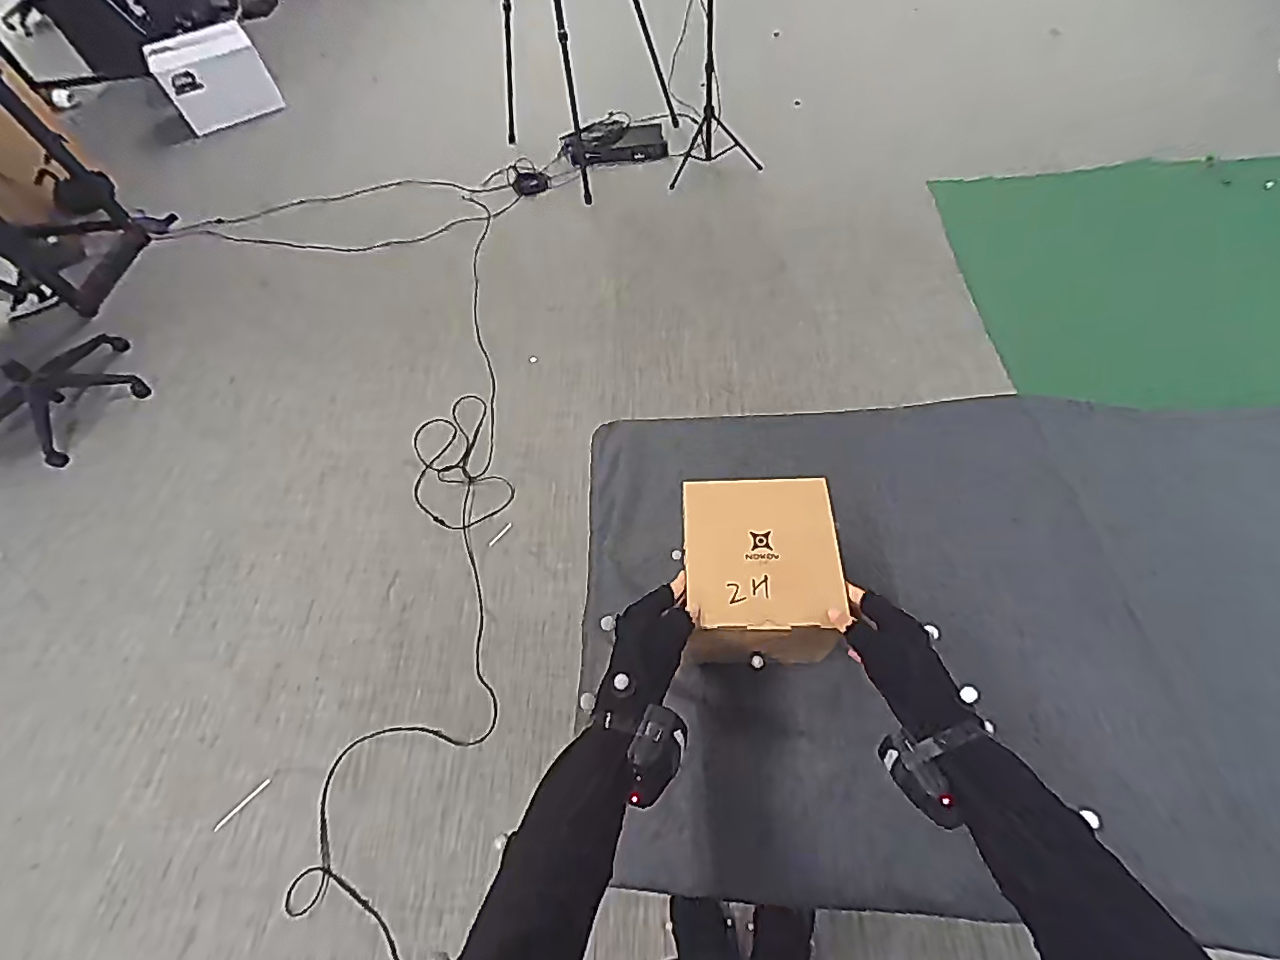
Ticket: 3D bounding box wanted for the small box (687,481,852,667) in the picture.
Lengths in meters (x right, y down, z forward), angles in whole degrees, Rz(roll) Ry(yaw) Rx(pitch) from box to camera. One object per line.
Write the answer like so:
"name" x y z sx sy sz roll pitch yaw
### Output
"small box" 0.141 0.118 0.658 0.168 0.176 0.179 -2 59 5
